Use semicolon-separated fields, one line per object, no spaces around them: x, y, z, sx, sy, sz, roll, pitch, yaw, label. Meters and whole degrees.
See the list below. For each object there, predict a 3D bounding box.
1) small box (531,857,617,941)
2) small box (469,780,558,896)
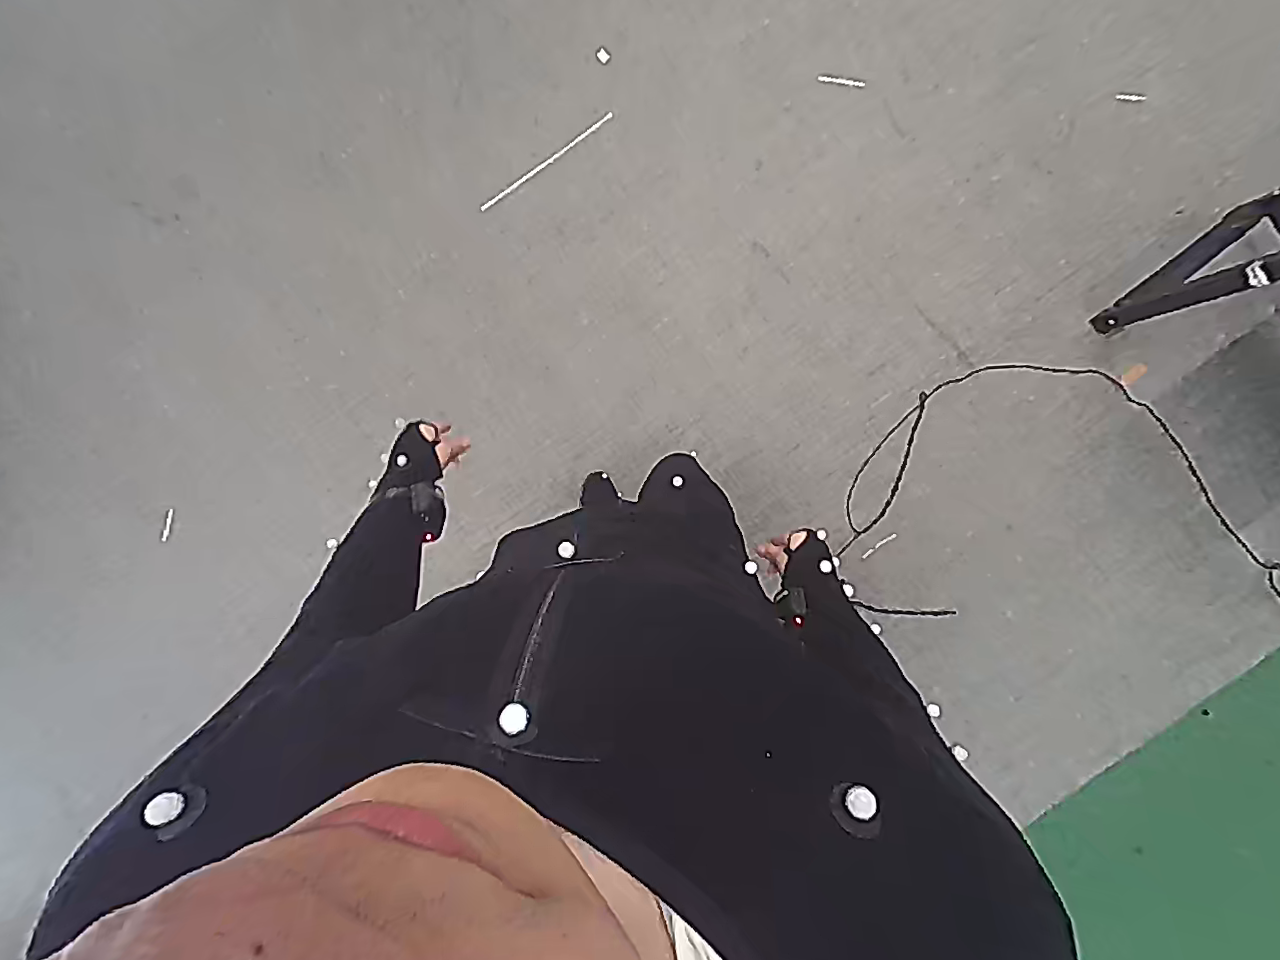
-0.181;1.222;1.521;0.179;0.176;0.168;-34;91;0;small box
-0.342;0.986;1.509;0.179;0.176;0.168;-33;92;0;small box
